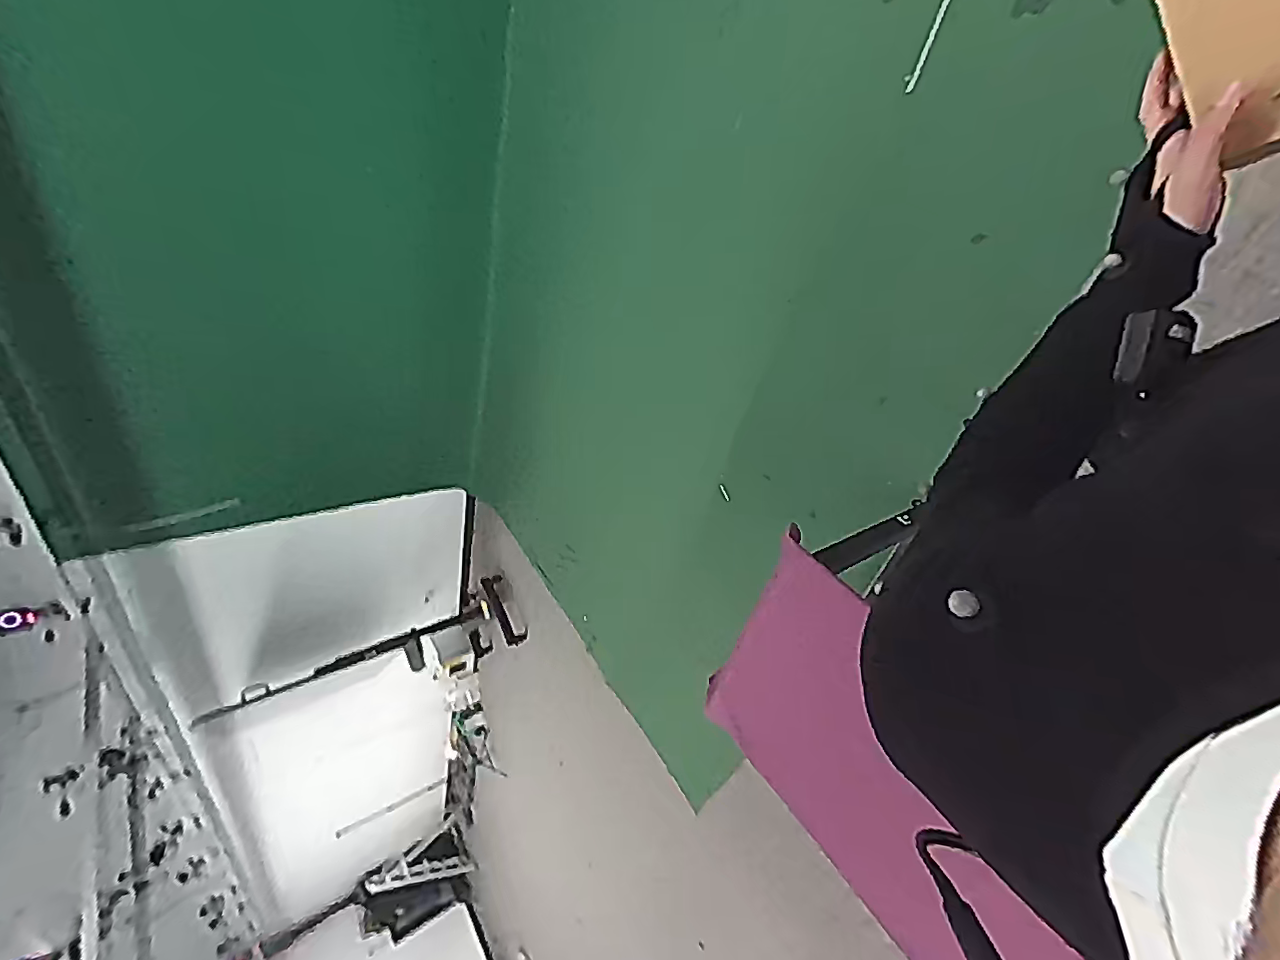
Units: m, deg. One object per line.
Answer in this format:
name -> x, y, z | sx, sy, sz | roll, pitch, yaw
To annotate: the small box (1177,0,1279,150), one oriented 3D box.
small box -> 0.519, -0.371, 0.393 | 0.168, 0.176, 0.179 | -13, 99, 53
